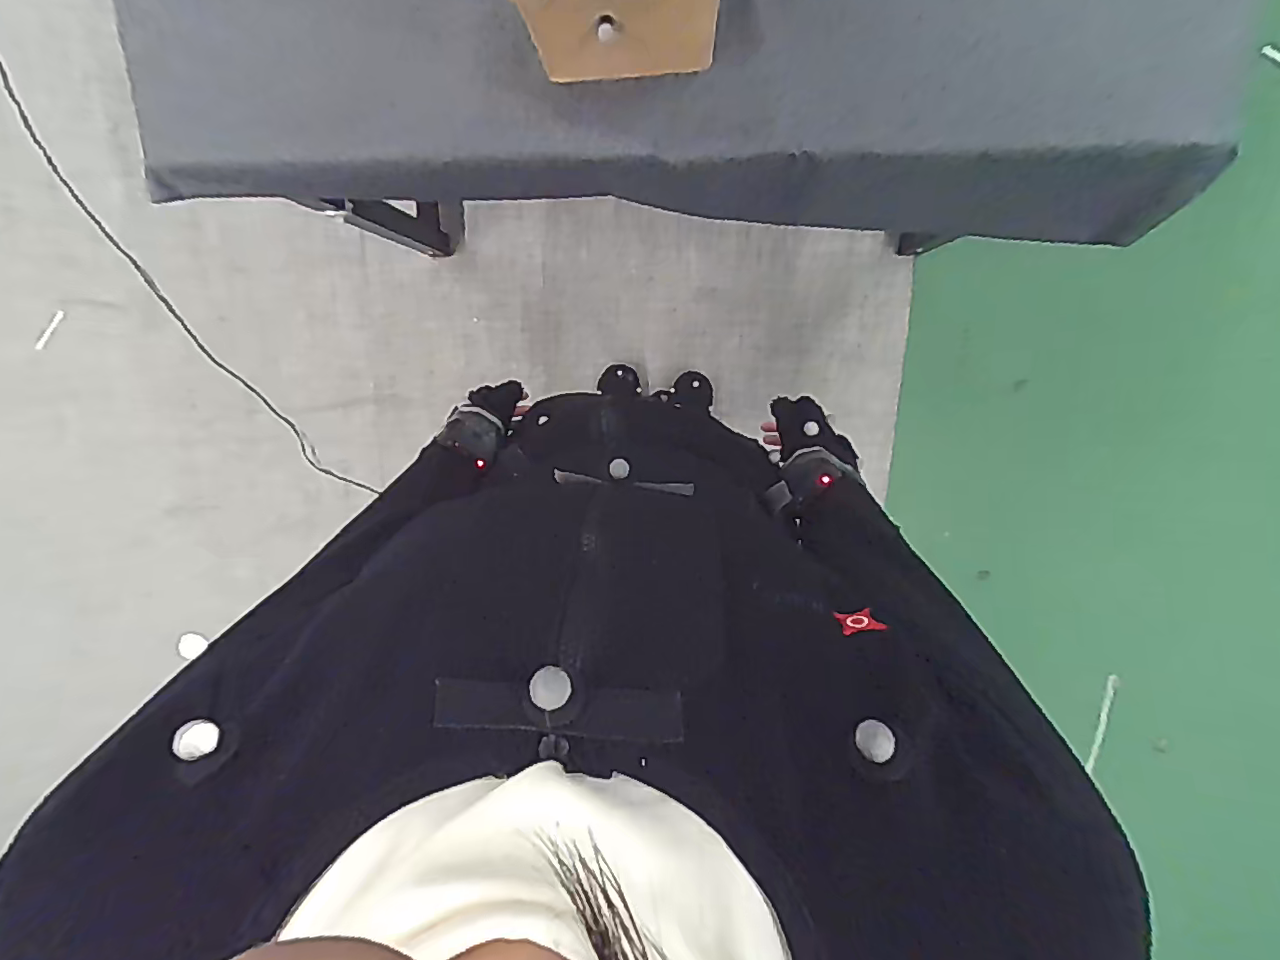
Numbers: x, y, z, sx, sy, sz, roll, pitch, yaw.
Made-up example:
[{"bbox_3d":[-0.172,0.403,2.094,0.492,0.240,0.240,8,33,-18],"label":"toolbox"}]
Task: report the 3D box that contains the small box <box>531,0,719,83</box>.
[{"bbox_3d":[-0.017,-0.504,0.498,0.179,0.176,0.168,-5,100,5],"label":"small box"}]
